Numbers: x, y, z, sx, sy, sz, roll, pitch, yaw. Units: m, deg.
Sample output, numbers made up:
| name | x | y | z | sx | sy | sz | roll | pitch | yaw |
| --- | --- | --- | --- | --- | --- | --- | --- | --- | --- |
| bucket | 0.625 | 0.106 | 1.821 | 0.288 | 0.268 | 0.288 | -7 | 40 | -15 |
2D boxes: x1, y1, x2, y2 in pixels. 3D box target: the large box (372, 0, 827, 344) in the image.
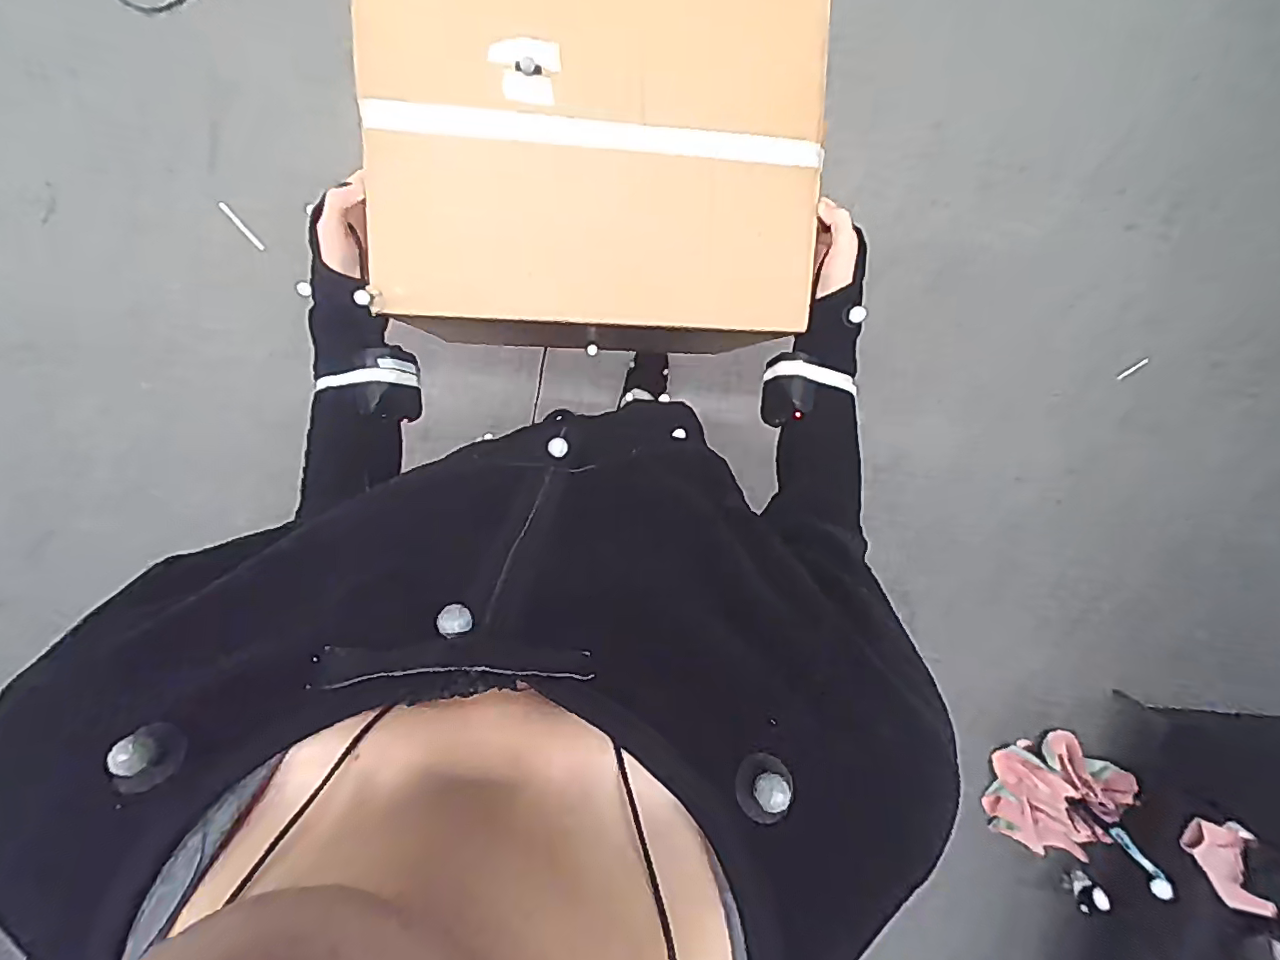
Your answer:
| name | x | y | z | sx | sy | sz | roll | pitch | yaw |
| --- | --- | --- | --- | --- | --- | --- | --- | --- | --- |
| large box | -0.045 | -0.328 | 0.635 | 0.408 | 0.320 | 0.320 | 0 | 99 | -8 |
